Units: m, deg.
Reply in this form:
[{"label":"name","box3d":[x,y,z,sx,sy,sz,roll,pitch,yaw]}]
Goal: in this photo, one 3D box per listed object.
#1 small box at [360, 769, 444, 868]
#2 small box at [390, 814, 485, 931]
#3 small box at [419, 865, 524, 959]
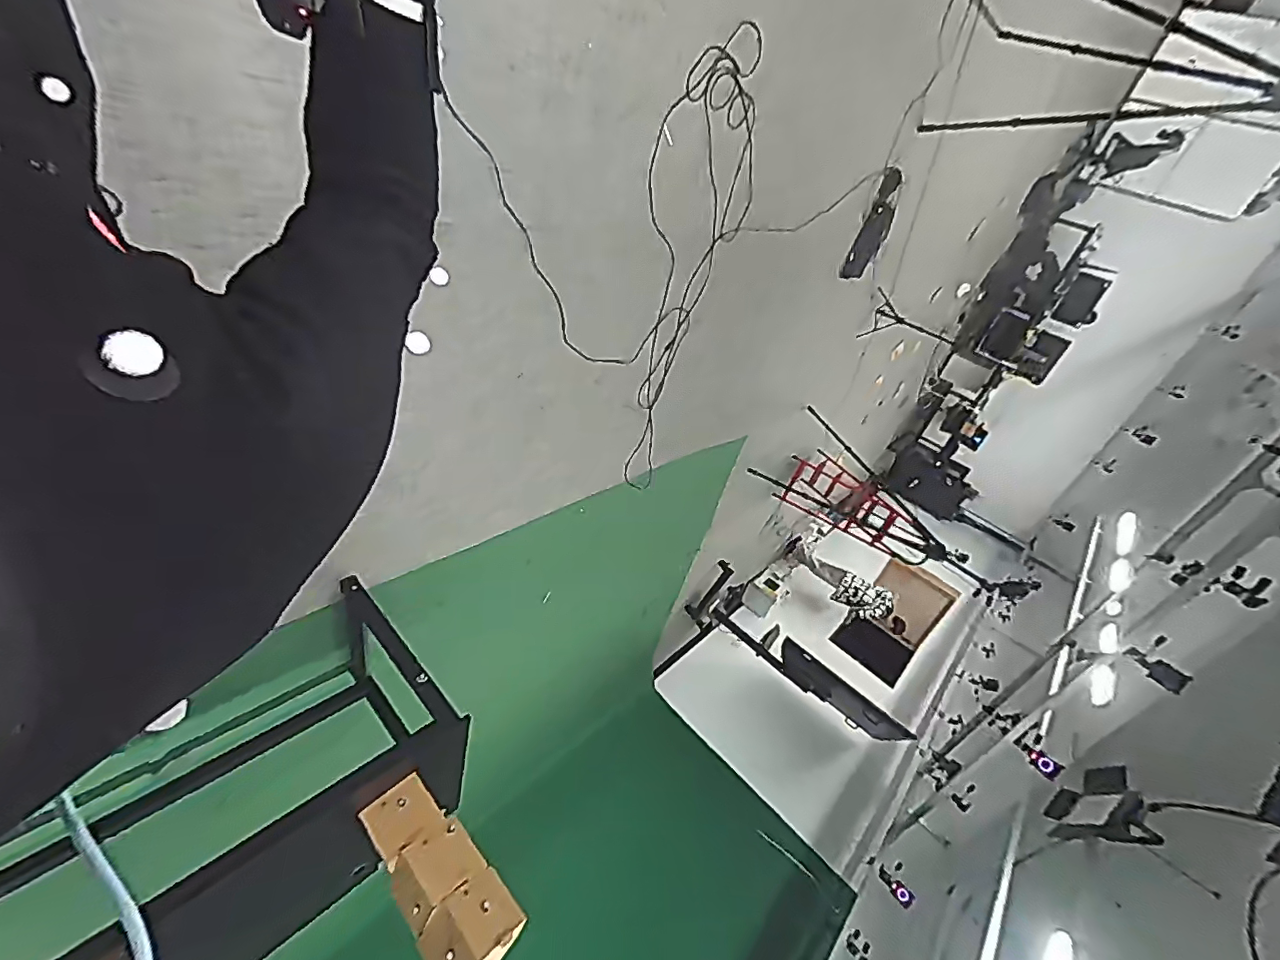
[{"label":"small box","box3d":[-0.679,0.977,1.561,0.168,0.176,0.179,-29,144,-37]},{"label":"small box","box3d":[-0.562,1.066,1.489,0.168,0.176,0.179,-9,131,-53]},{"label":"small box","box3d":[-0.446,1.161,1.419,0.168,0.176,0.179,7,116,-58]}]
